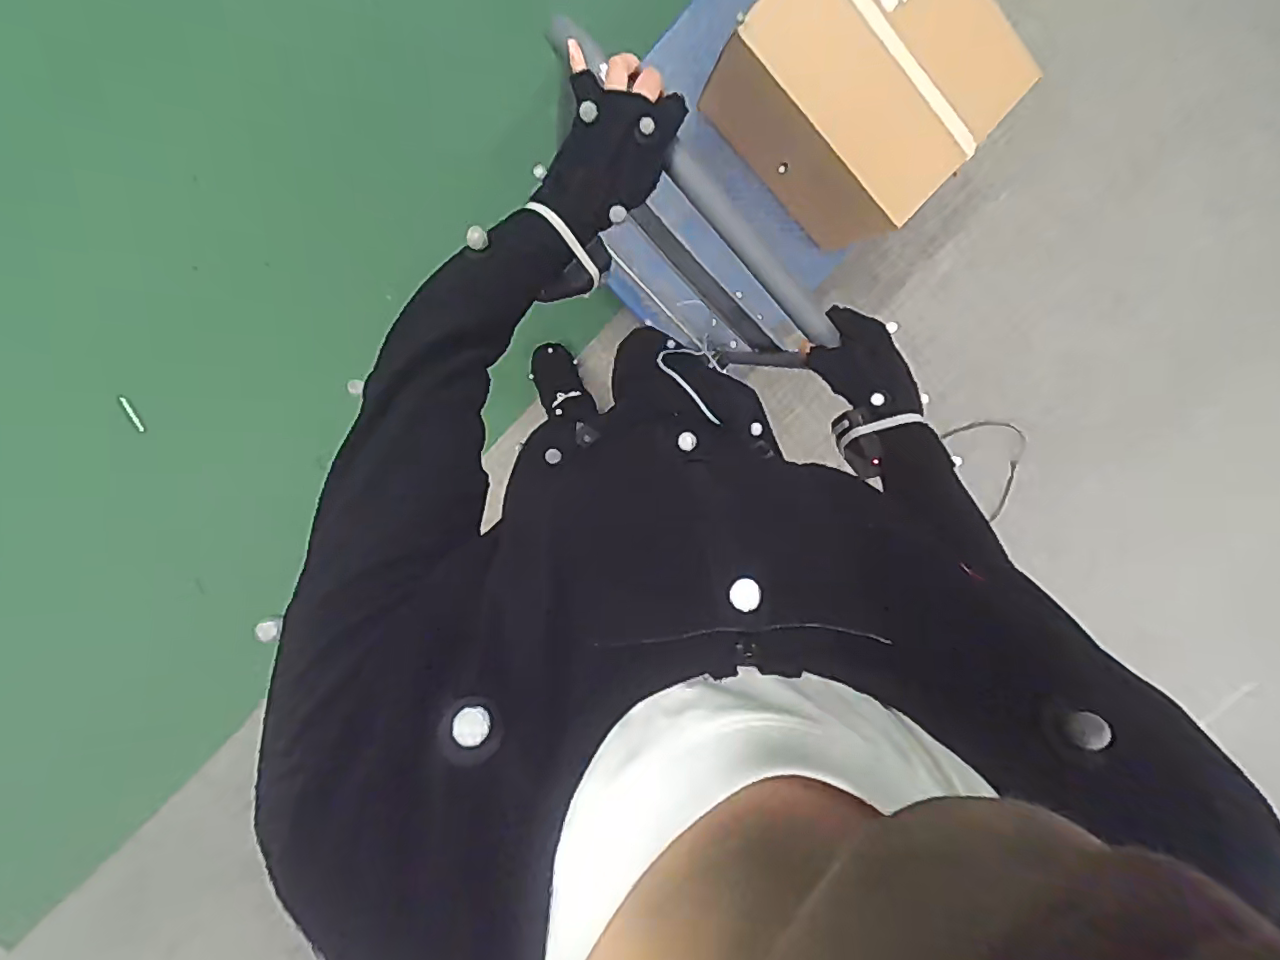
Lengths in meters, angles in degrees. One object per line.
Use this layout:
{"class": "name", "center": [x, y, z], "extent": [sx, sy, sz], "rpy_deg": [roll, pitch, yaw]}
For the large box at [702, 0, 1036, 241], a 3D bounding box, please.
{"class": "large box", "center": [0.378, -0.711, 0.983], "extent": [0.408, 0.320, 0.320], "rpy_deg": [40, 99, -14]}
